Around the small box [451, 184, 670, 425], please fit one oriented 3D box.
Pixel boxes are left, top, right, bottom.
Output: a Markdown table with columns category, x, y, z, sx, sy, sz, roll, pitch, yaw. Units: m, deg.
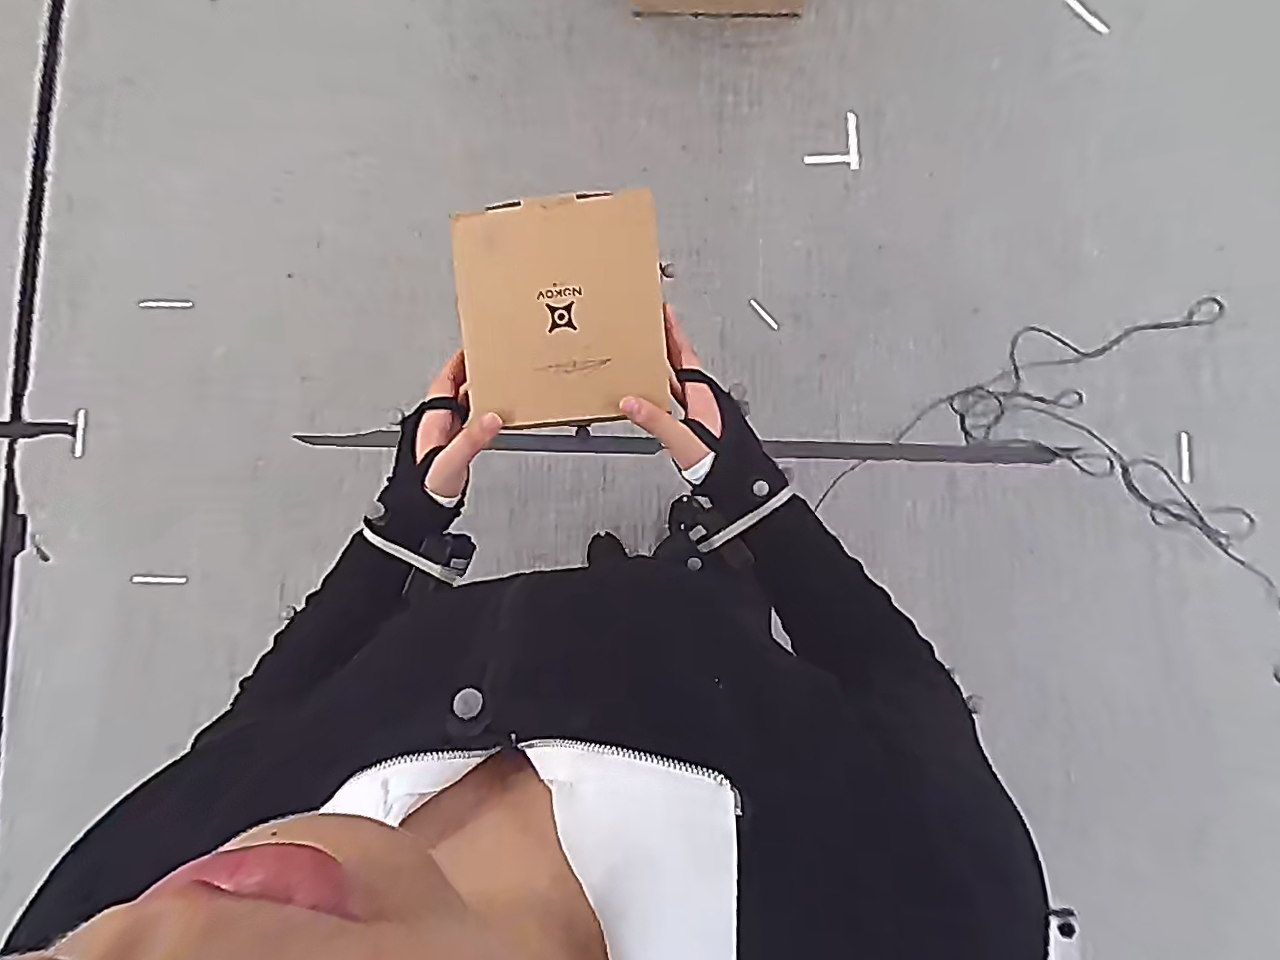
| category | x | y | z | sx | sy | sz | roll | pitch | yaw |
| --- | --- | --- | --- | --- | --- | --- | --- | --- | --- |
| small box | -0.060 | -0.146 | 0.511 | 0.168 | 0.176 | 0.179 | -4 | 95 | 3 |
